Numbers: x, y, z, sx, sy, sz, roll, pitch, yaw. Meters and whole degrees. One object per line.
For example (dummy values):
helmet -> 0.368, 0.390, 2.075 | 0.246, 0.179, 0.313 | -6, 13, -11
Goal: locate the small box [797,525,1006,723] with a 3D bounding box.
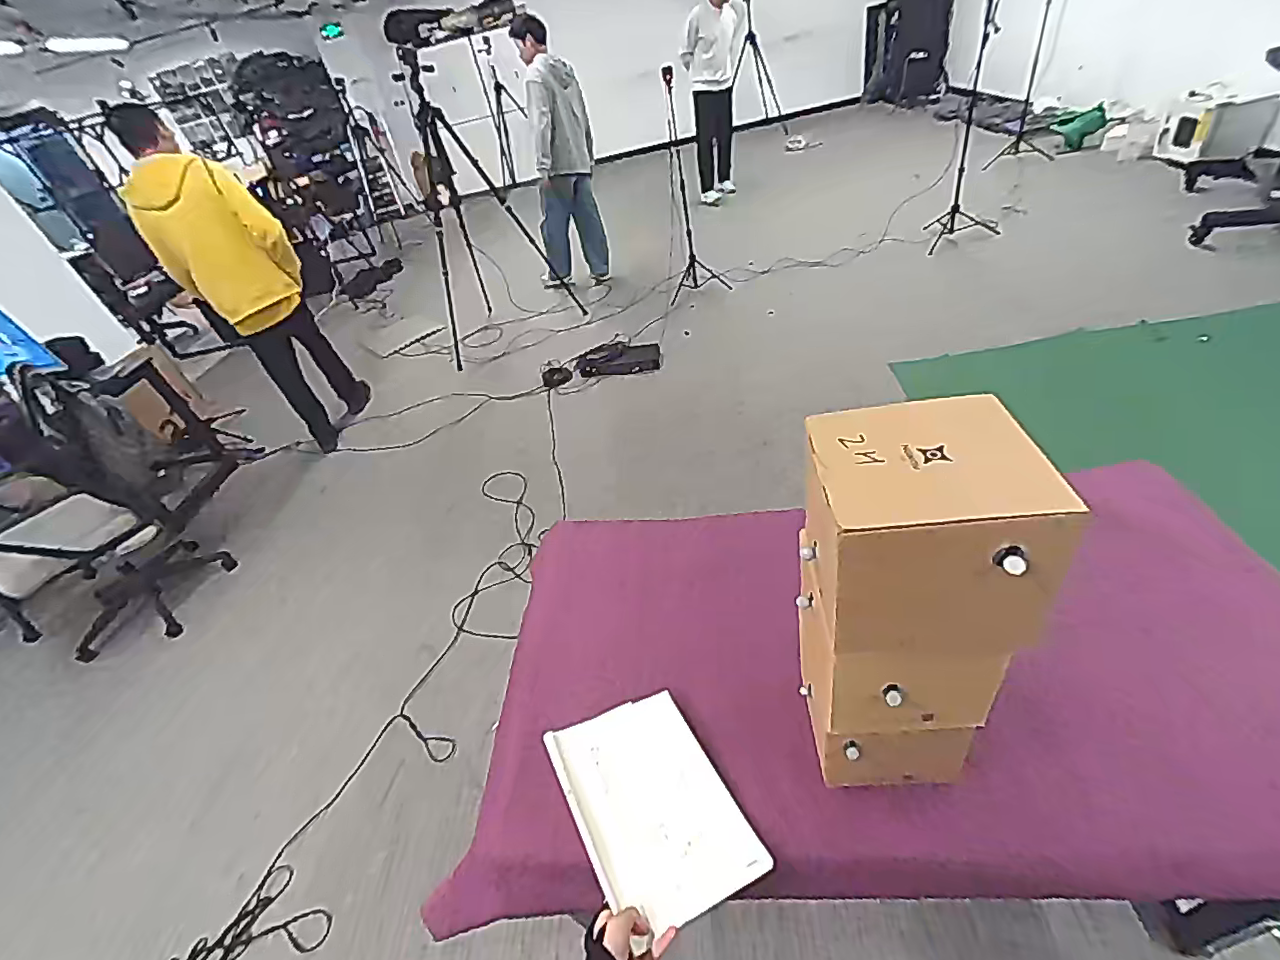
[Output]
small box -> 0.281, 0.162, 0.622 | 0.168, 0.176, 0.179 | -7, 38, 9

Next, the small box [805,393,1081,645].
small box -> 0.256, 0.040, 0.513 | 0.179, 0.176, 0.168 | -6, 38, 11
